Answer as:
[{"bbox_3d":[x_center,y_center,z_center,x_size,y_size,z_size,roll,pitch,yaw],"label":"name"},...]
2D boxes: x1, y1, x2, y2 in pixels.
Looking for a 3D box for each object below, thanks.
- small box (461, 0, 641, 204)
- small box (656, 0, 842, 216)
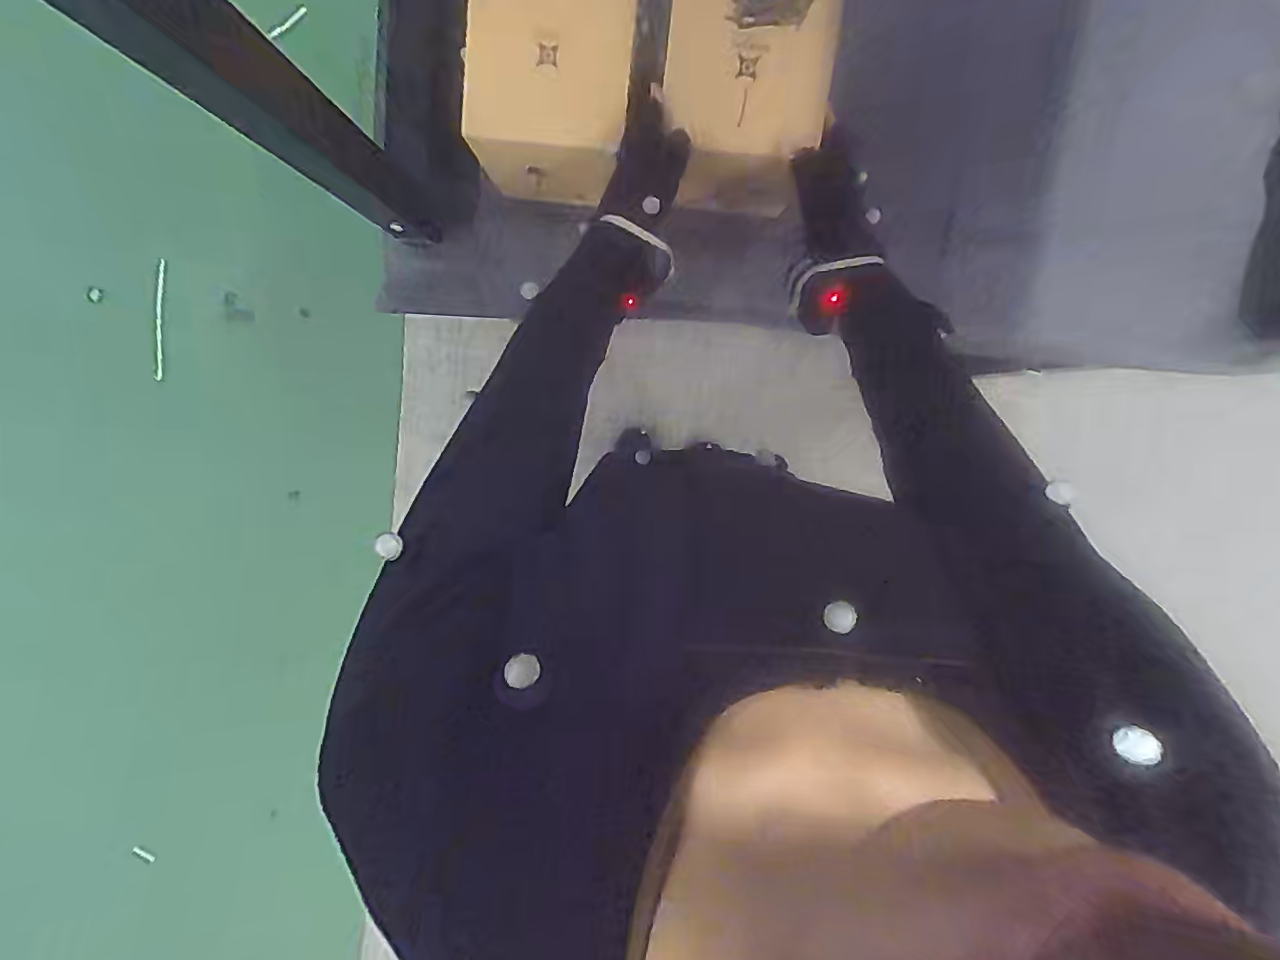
[{"bbox_3d":[-0.089,-0.434,0.607,0.168,0.176,0.179,6,97,-1],"label":"small box"},{"bbox_3d":[0.108,-0.424,0.606,0.168,0.176,0.179,7,98,1],"label":"small box"}]
